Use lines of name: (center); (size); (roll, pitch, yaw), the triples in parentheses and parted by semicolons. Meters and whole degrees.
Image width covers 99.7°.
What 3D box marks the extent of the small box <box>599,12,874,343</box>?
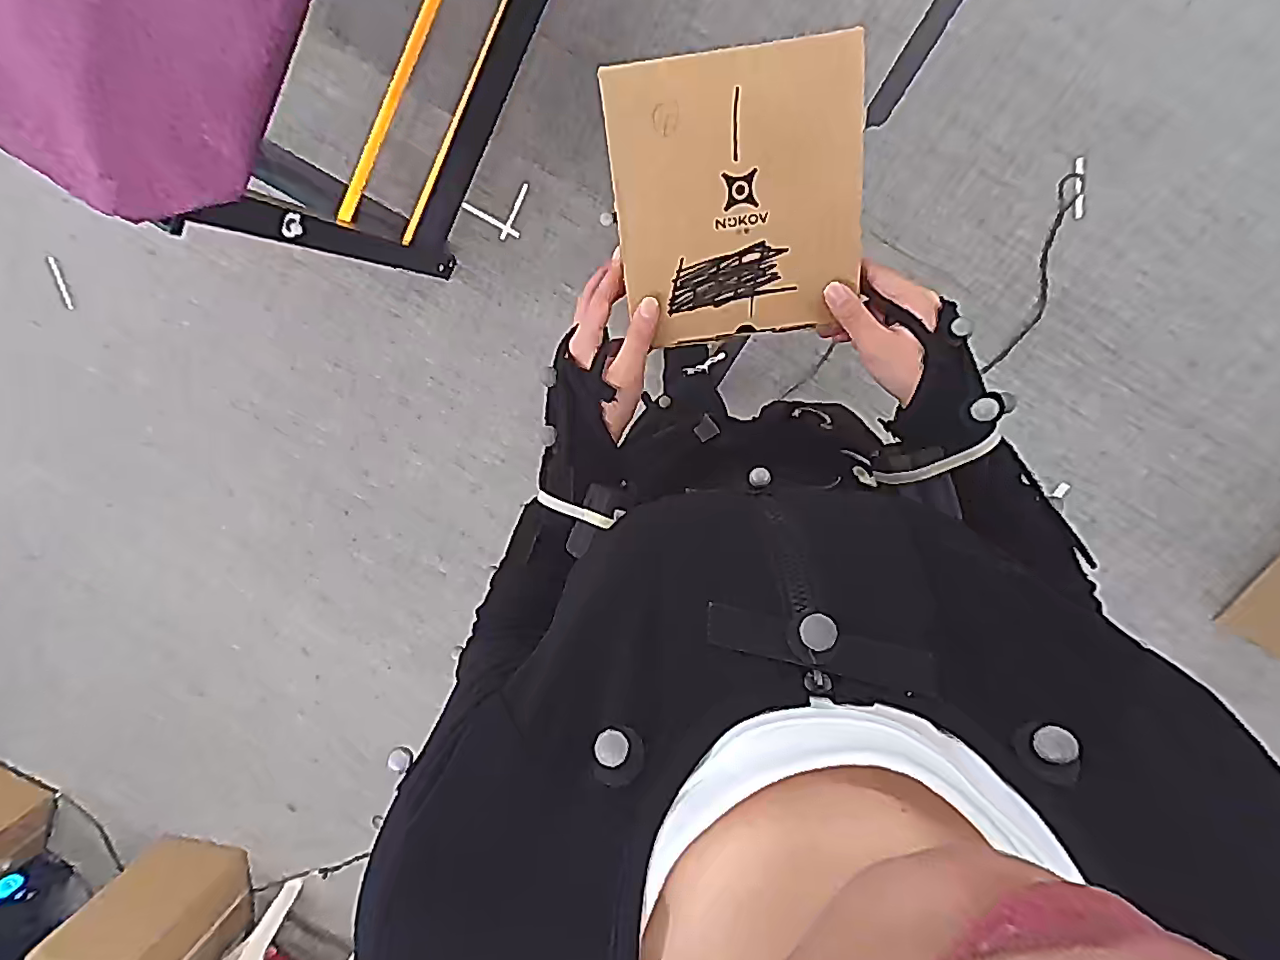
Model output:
small box: (0.065, -0.216, 0.424); (0.168, 0.176, 0.179); (-7, 111, 2)
